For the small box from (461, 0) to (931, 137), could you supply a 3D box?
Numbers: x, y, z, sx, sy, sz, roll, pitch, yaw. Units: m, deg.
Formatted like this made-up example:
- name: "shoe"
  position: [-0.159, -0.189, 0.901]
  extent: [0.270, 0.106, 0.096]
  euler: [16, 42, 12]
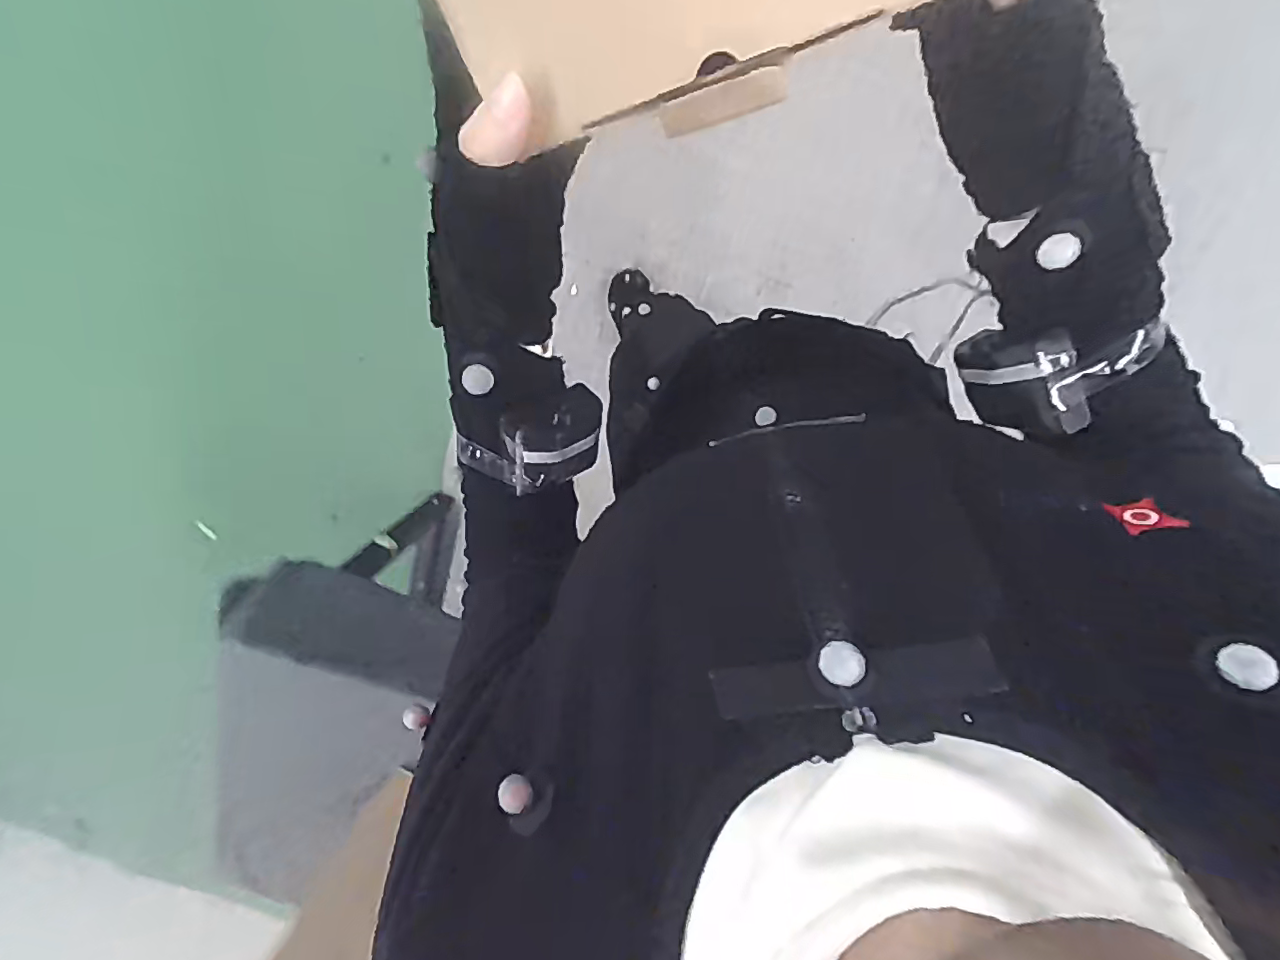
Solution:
- name: "small box"
  position: [0.015, -0.258, 0.185]
  extent: [0.168, 0.176, 0.179]
  euler: [-8, 133, 18]
